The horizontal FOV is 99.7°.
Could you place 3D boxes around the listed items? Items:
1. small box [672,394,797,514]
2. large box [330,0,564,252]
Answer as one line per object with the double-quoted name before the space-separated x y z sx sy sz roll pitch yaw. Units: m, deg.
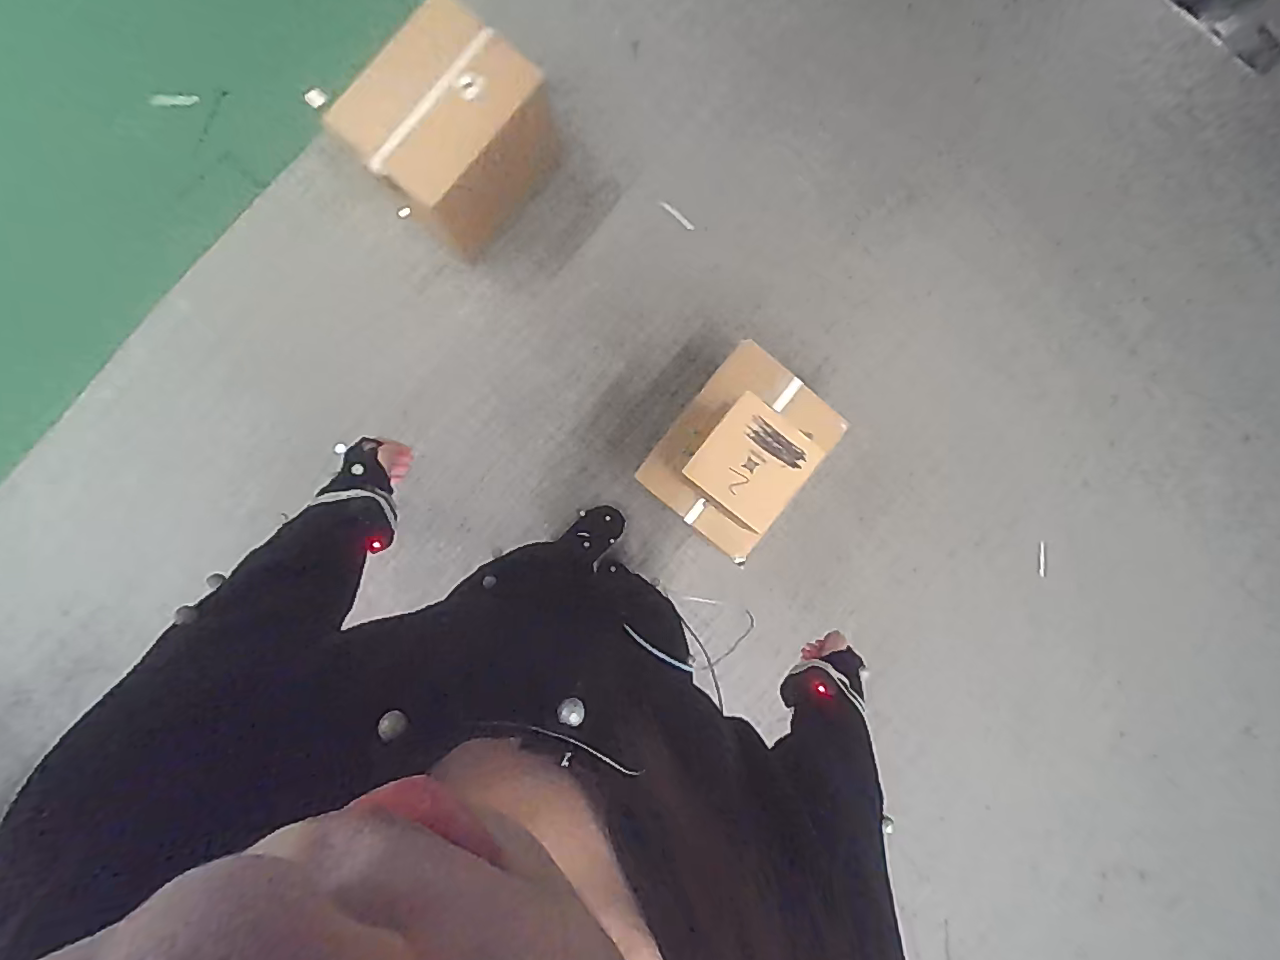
"small box" 0.184 -0.052 1.111 0.179 0.176 0.168 38 89 0
"large box" -0.441 -0.863 1.326 0.320 0.320 0.408 40 88 -1
